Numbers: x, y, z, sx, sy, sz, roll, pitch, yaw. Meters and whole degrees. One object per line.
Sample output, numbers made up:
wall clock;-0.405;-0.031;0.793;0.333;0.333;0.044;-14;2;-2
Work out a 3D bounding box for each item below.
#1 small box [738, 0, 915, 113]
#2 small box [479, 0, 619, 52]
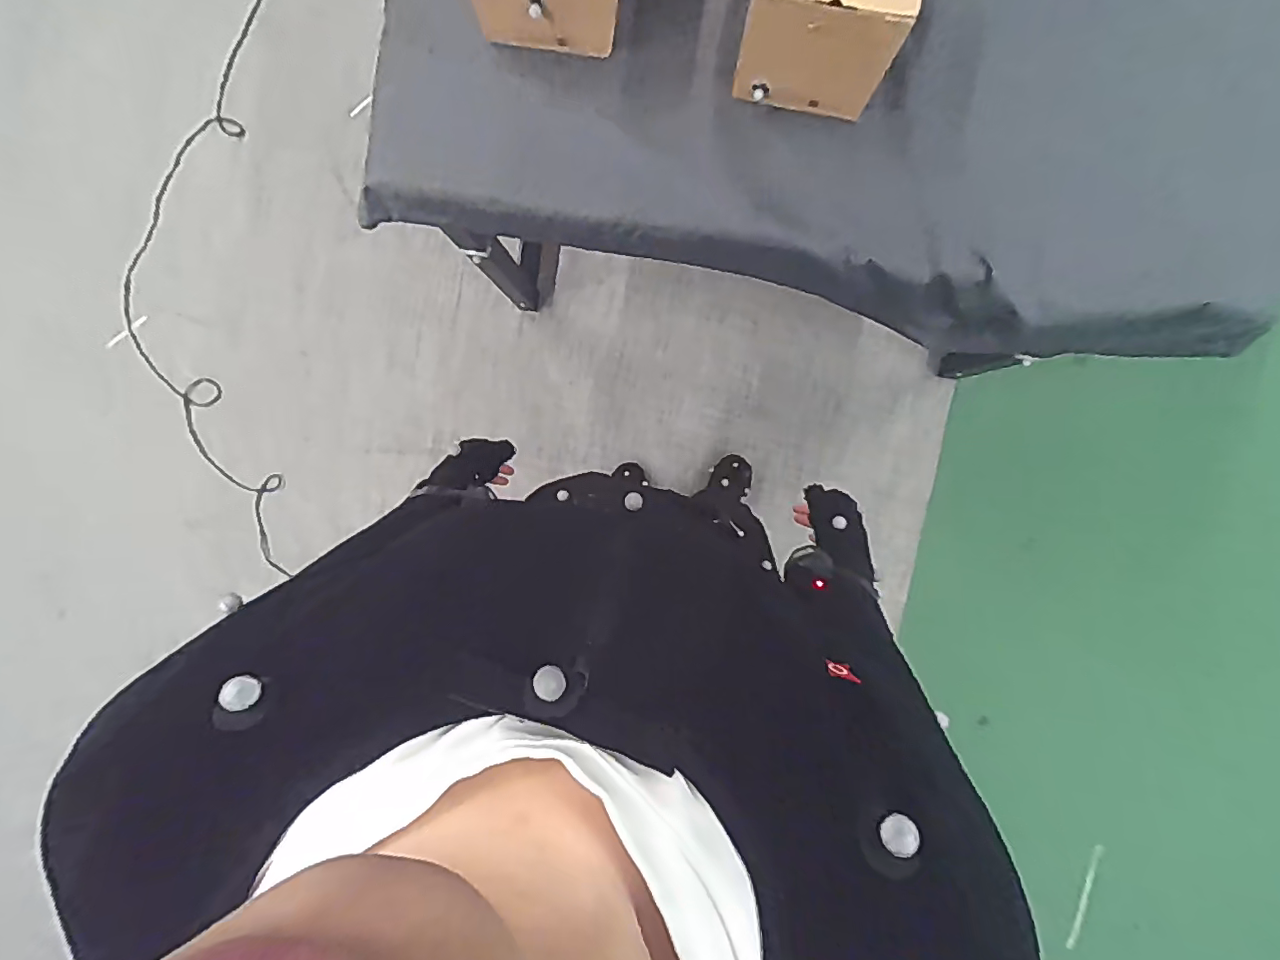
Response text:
small box;0.214;-0.565;0.618;0.168;0.176;0.179;12;93;1
small box;-0.107;-0.646;0.625;0.168;0.176;0.179;8;94;1
